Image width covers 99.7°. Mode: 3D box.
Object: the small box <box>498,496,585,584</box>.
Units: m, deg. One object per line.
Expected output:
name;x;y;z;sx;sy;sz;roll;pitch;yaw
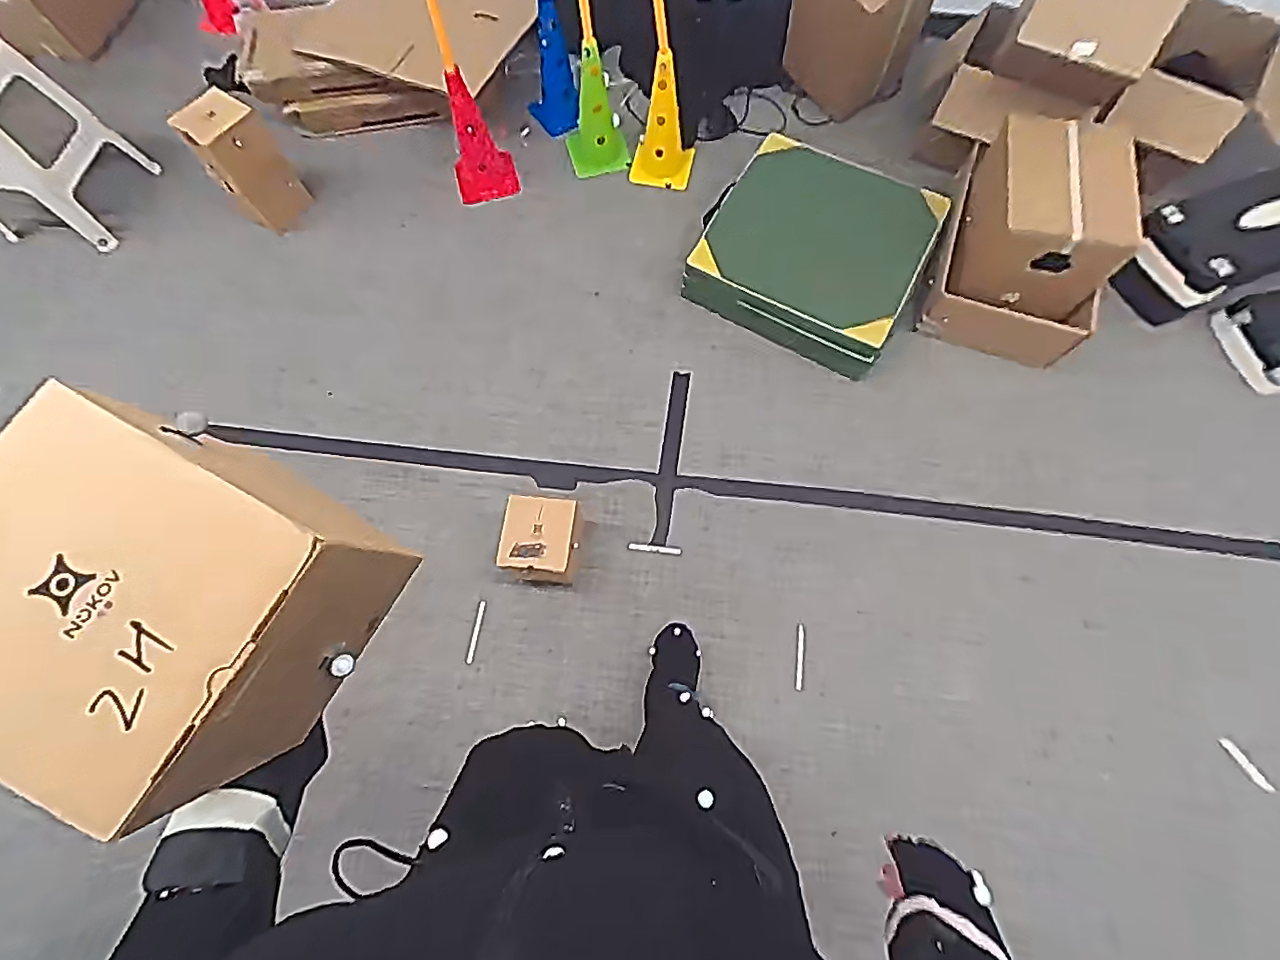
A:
small box;-0.235;0.155;1.344;0.168;0.176;0.179;6;69;4

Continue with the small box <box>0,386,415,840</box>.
small box;-0.287;0.074;0.352;0.179;0.176;0.168;34;79;1
